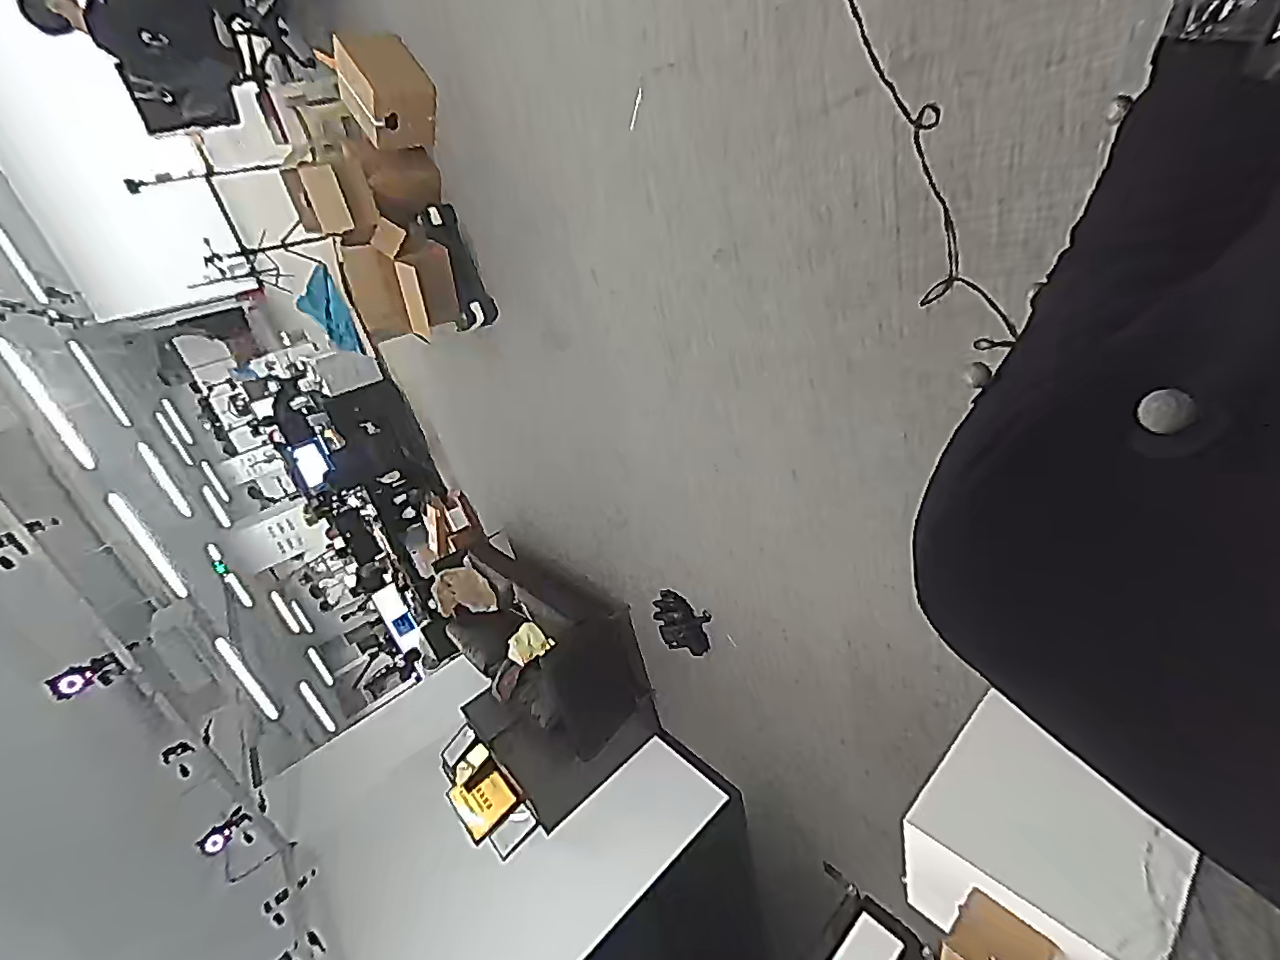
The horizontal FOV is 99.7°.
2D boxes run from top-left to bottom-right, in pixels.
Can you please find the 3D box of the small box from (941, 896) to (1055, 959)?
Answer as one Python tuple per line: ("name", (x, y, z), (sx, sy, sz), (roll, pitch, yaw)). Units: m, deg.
("small box", (0.825, 1.131, 1.252), (0.179, 0.176, 0.168), (20, 130, 50))
